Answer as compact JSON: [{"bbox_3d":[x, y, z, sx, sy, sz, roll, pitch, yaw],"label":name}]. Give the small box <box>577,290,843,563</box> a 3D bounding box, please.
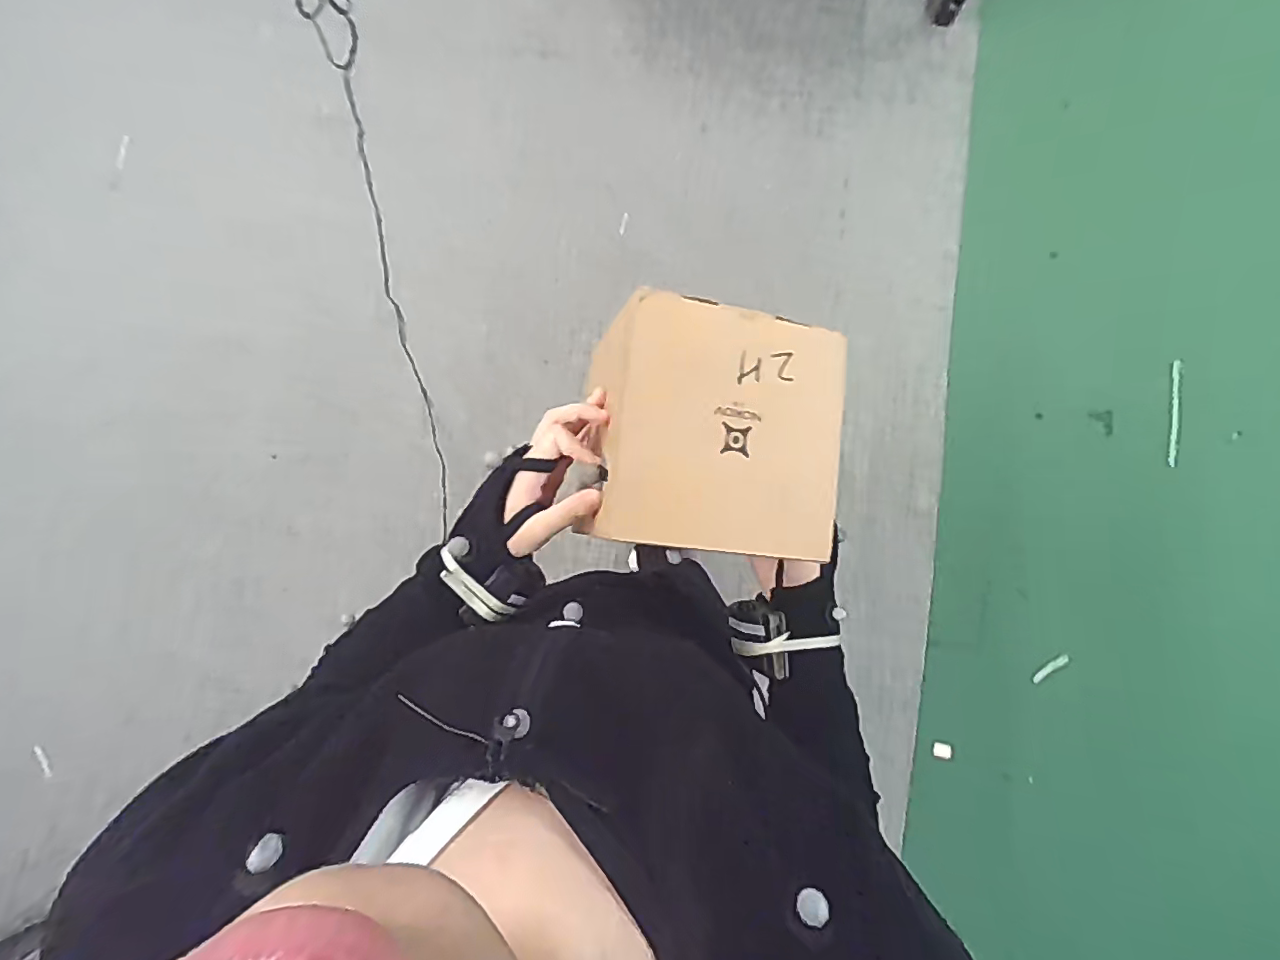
[{"bbox_3d":[0.046,-0.030,0.462,0.168,0.176,0.179,8,84,-16],"label":"small box"}]
